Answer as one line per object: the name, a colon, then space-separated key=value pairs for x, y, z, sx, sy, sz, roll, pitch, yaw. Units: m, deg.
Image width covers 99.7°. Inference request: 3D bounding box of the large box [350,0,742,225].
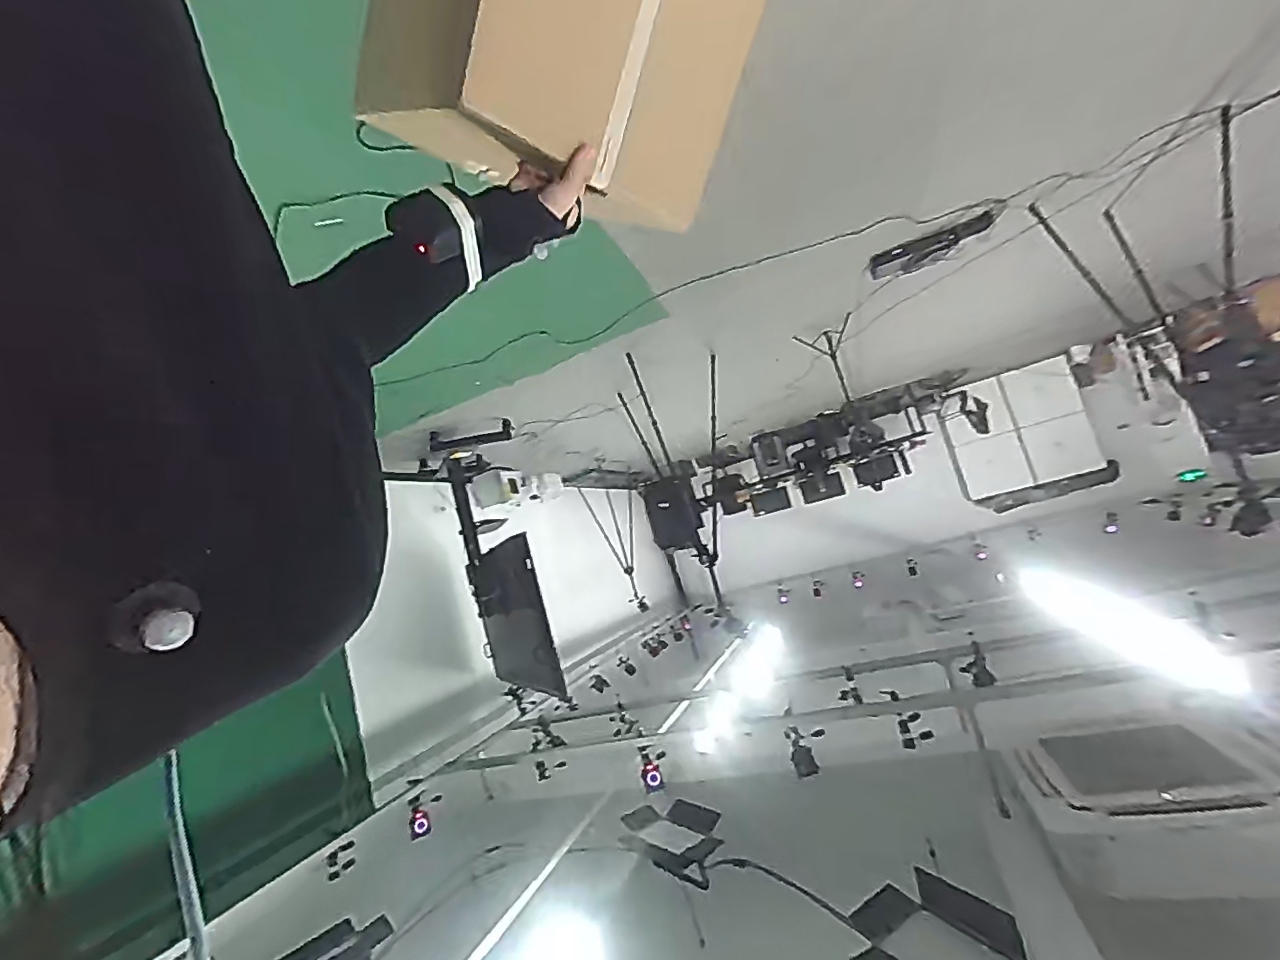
large box: x=-0.102 y=-0.566 z=0.626 sx=0.320 sy=0.408 sz=0.320 roll=2 pitch=-158 yaw=-48
